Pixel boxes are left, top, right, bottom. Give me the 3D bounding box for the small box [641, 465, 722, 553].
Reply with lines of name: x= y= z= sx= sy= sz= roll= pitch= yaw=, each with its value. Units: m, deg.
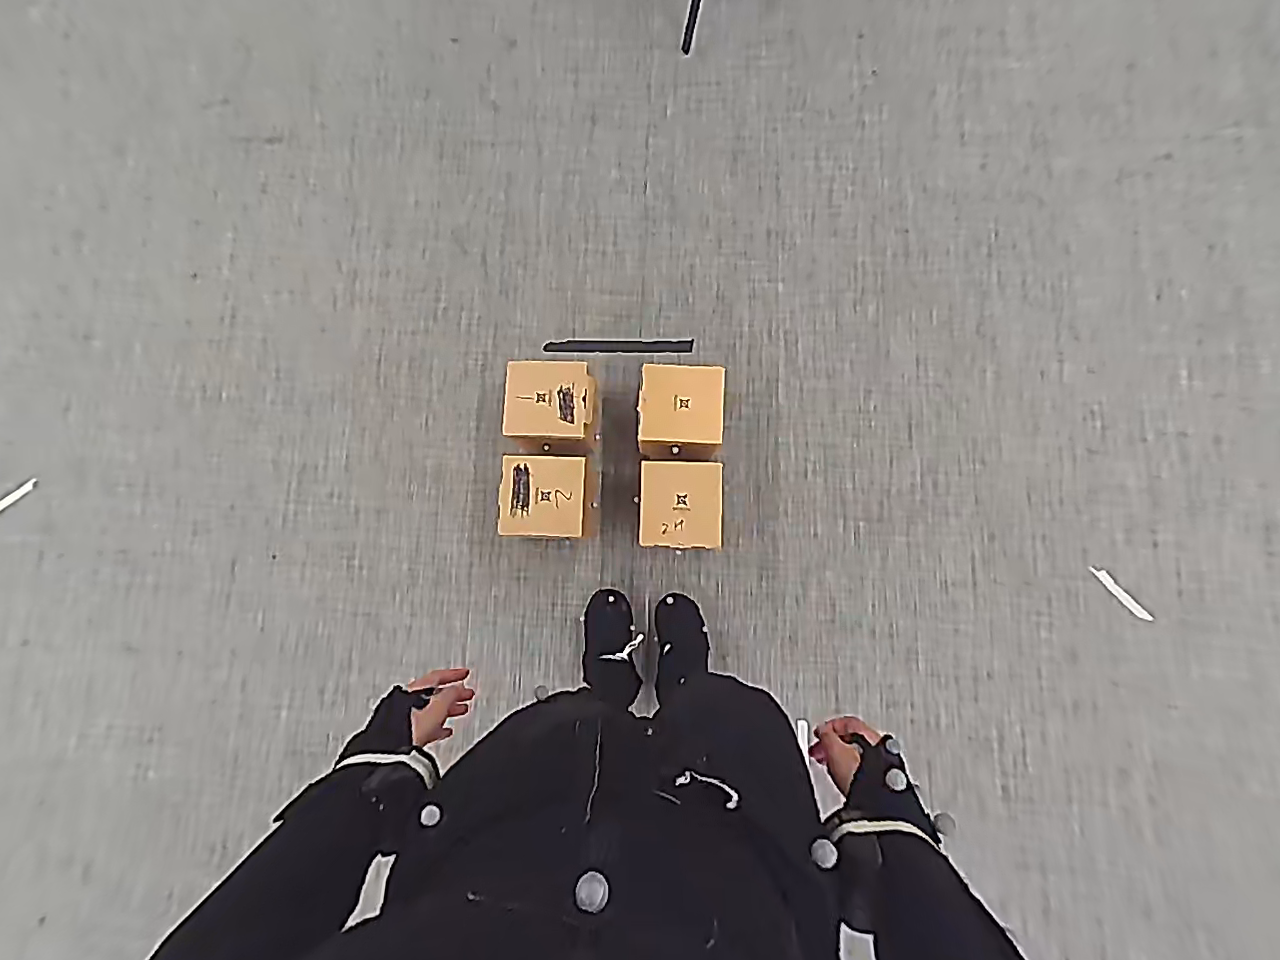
small box: x=0.088 y=0.068 z=1.181 sx=0.168 sy=0.176 sz=0.179 roll=1 pitch=82 yaw=3
